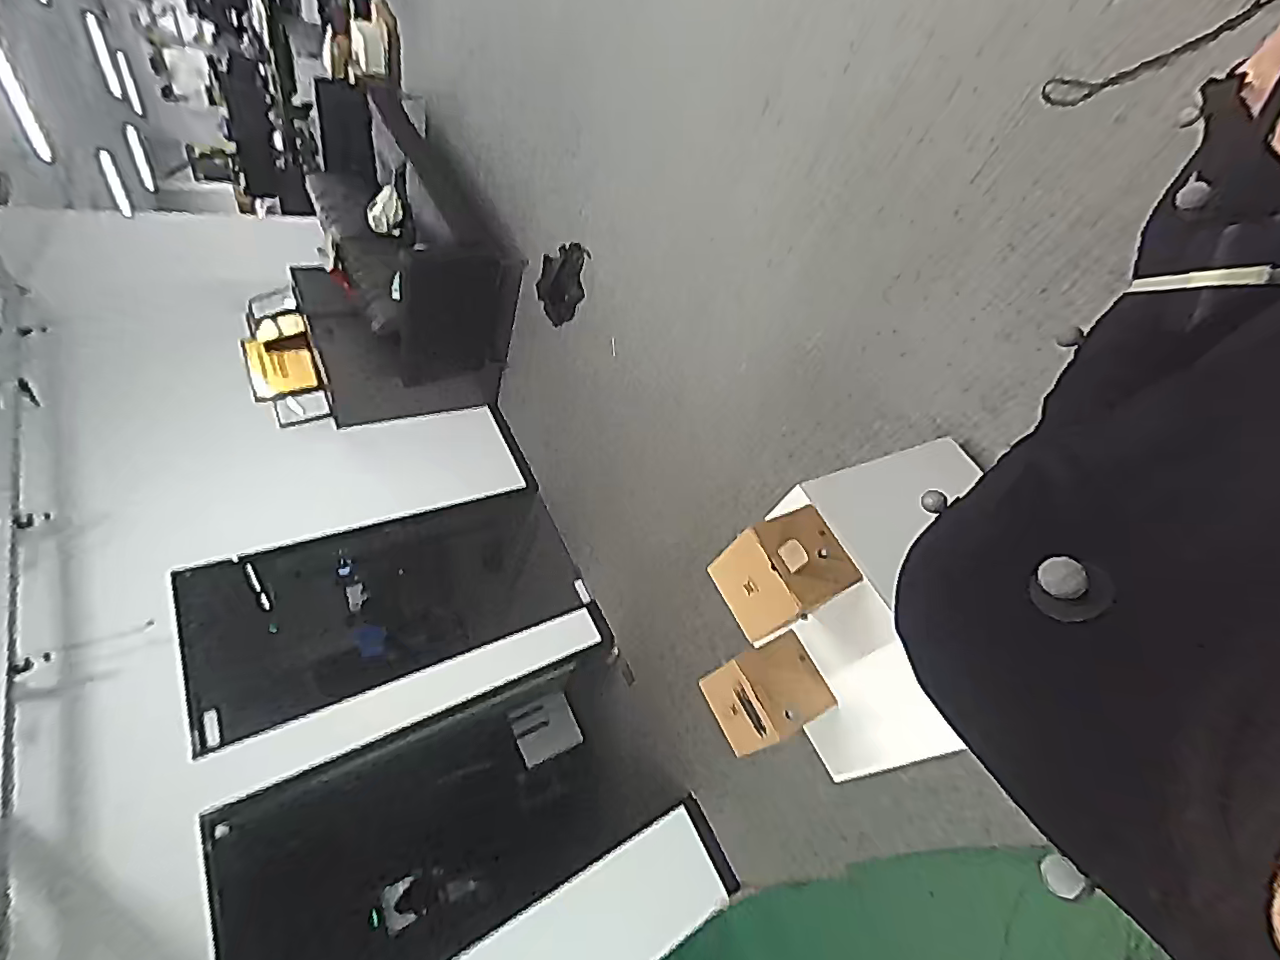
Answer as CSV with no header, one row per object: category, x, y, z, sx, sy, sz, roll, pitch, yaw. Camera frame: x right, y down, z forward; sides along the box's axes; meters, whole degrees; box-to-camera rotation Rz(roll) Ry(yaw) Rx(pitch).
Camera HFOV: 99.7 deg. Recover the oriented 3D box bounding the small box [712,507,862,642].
small box,0.272,0.174,1.010,0.168,0.176,0.179,60,146,24
